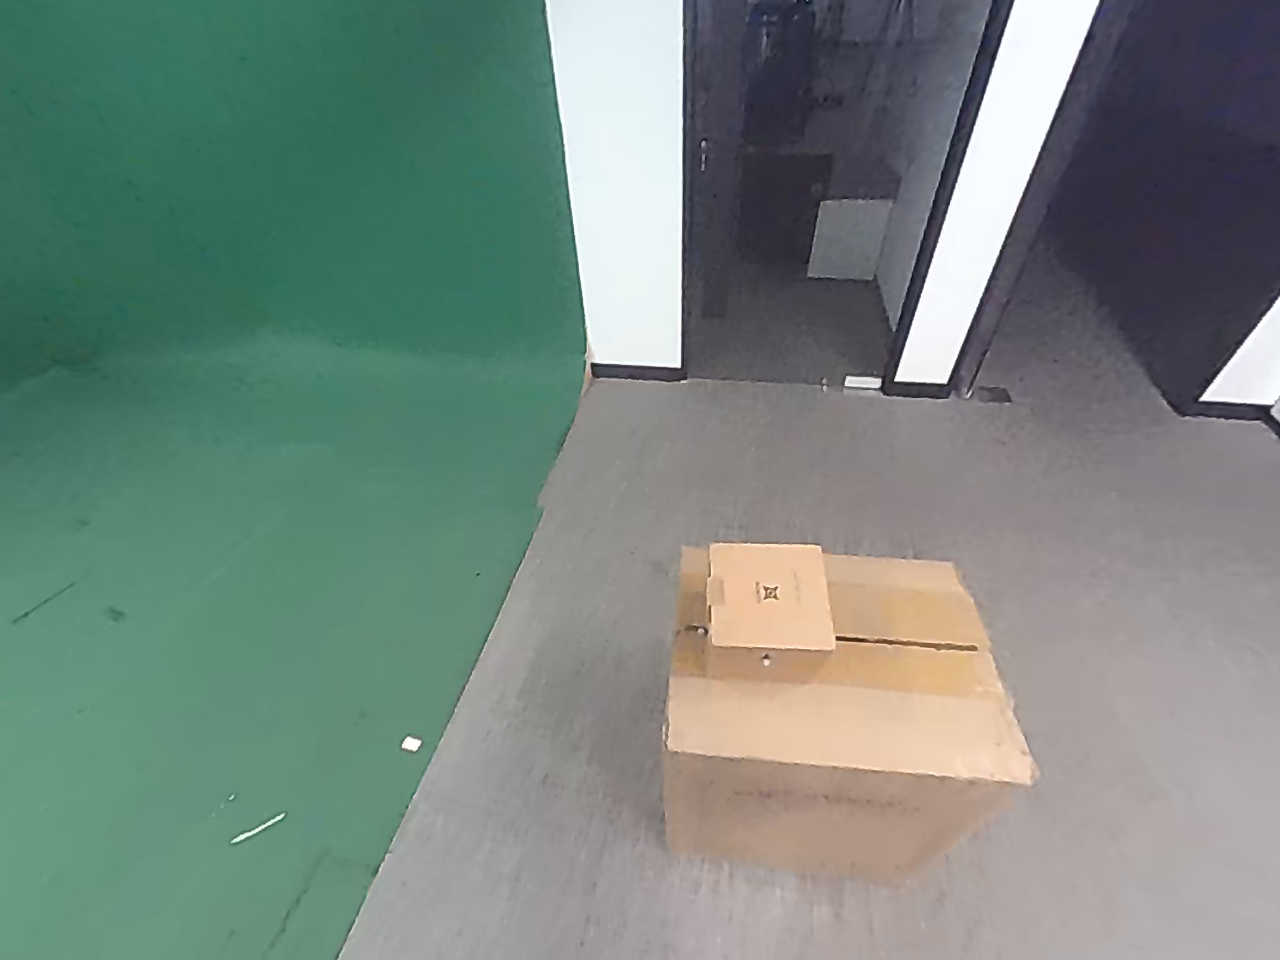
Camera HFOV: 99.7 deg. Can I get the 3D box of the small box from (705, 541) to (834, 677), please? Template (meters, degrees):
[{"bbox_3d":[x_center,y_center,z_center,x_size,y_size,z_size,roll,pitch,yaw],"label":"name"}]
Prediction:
[{"bbox_3d":[0.195,0.211,0.871,0.179,0.176,0.168,1,55,4],"label":"small box"}]
